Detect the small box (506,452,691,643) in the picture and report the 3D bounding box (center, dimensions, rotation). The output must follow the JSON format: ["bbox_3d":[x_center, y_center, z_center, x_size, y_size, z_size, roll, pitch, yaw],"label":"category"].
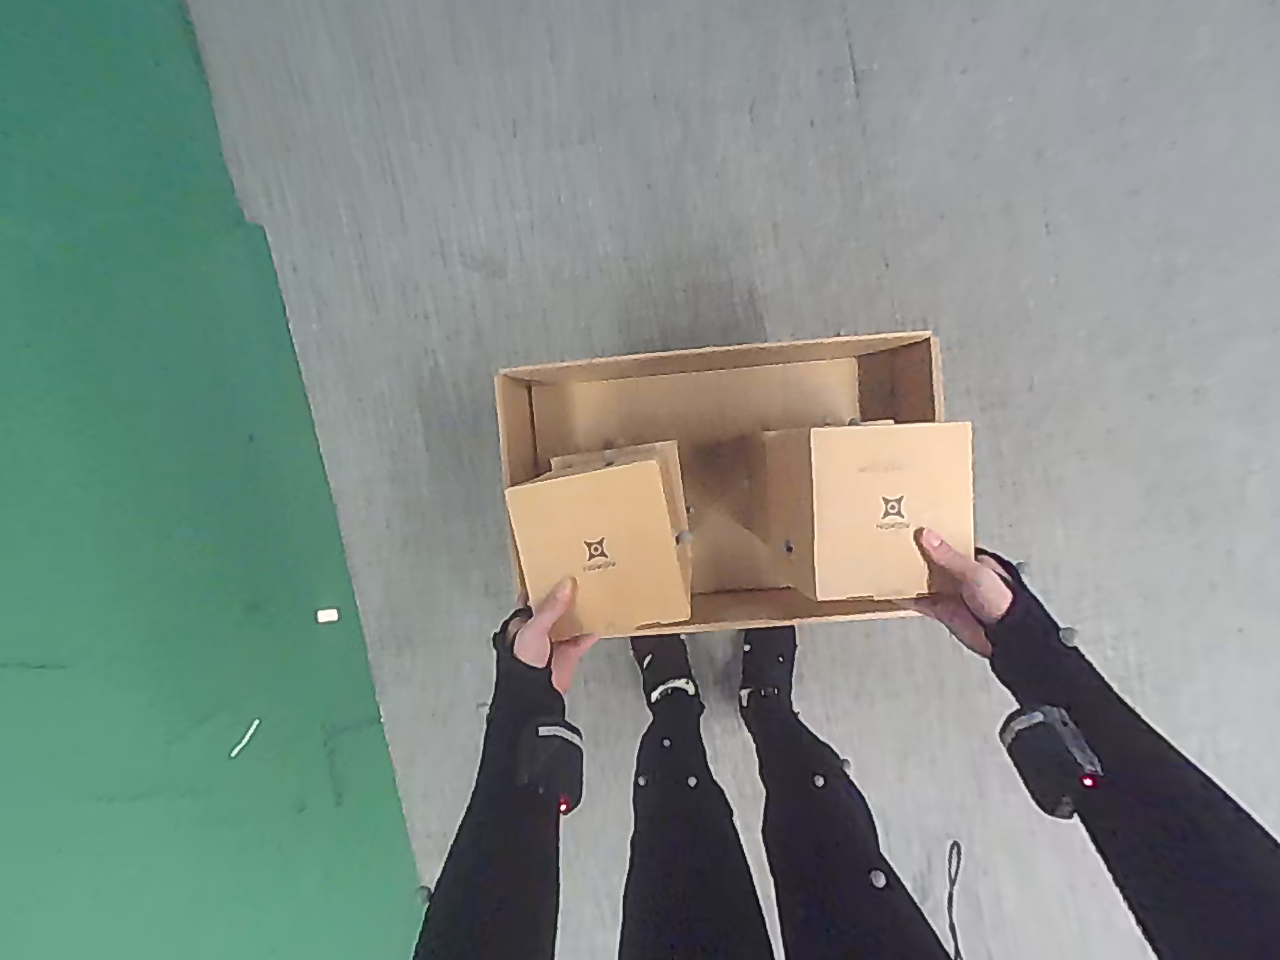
[{"bbox_3d":[-0.038,0.065,0.632,0.168,0.176,0.179,-11,96,6],"label":"small box"}]

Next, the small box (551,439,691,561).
[{"bbox_3d":[-0.019,0.033,0.803,0.179,0.176,0.168,-7,92,4],"label":"small box"}]

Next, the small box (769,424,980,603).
[{"bbox_3d":[0.248,0.031,0.606,0.168,0.176,0.179,-1,90,-2],"label":"small box"}]
